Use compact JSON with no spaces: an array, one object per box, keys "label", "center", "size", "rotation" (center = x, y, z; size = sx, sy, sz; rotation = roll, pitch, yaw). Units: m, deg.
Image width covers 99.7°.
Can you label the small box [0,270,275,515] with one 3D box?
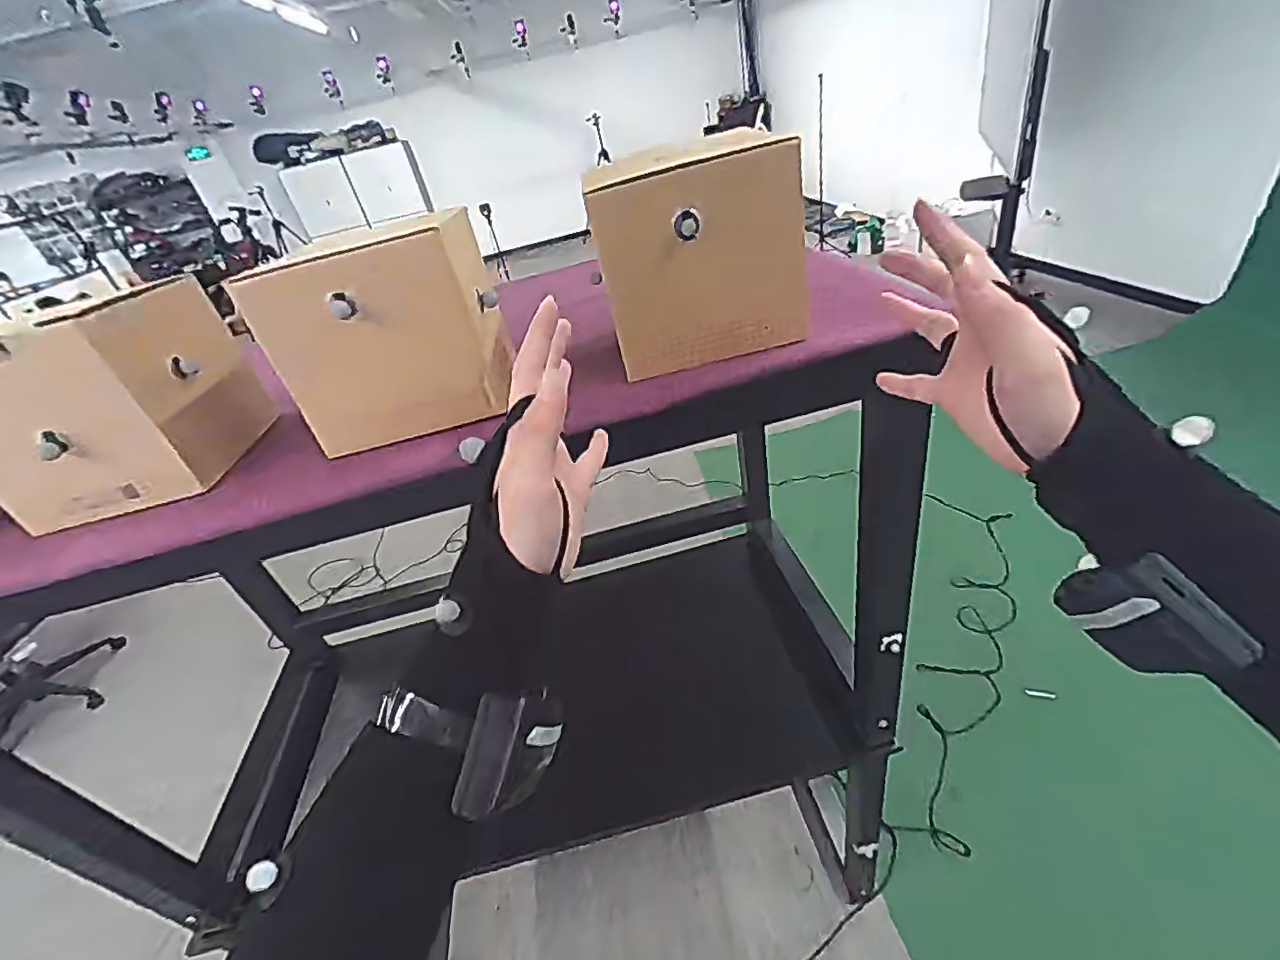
[{"label":"small box","center":[-0.504,-0.083,0.527],"size":[0.168,0.176,0.179],"rotation":[-15,34,-2]}]

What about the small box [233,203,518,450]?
[{"label":"small box","center":[-0.231,-0.153,0.534],"size":[0.179,0.176,0.168],"rotation":[-15,33,0]}]

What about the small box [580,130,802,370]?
[{"label":"small box","center":[0.048,-0.225,0.532],"size":[0.179,0.176,0.168],"rotation":[-13,35,2]}]
